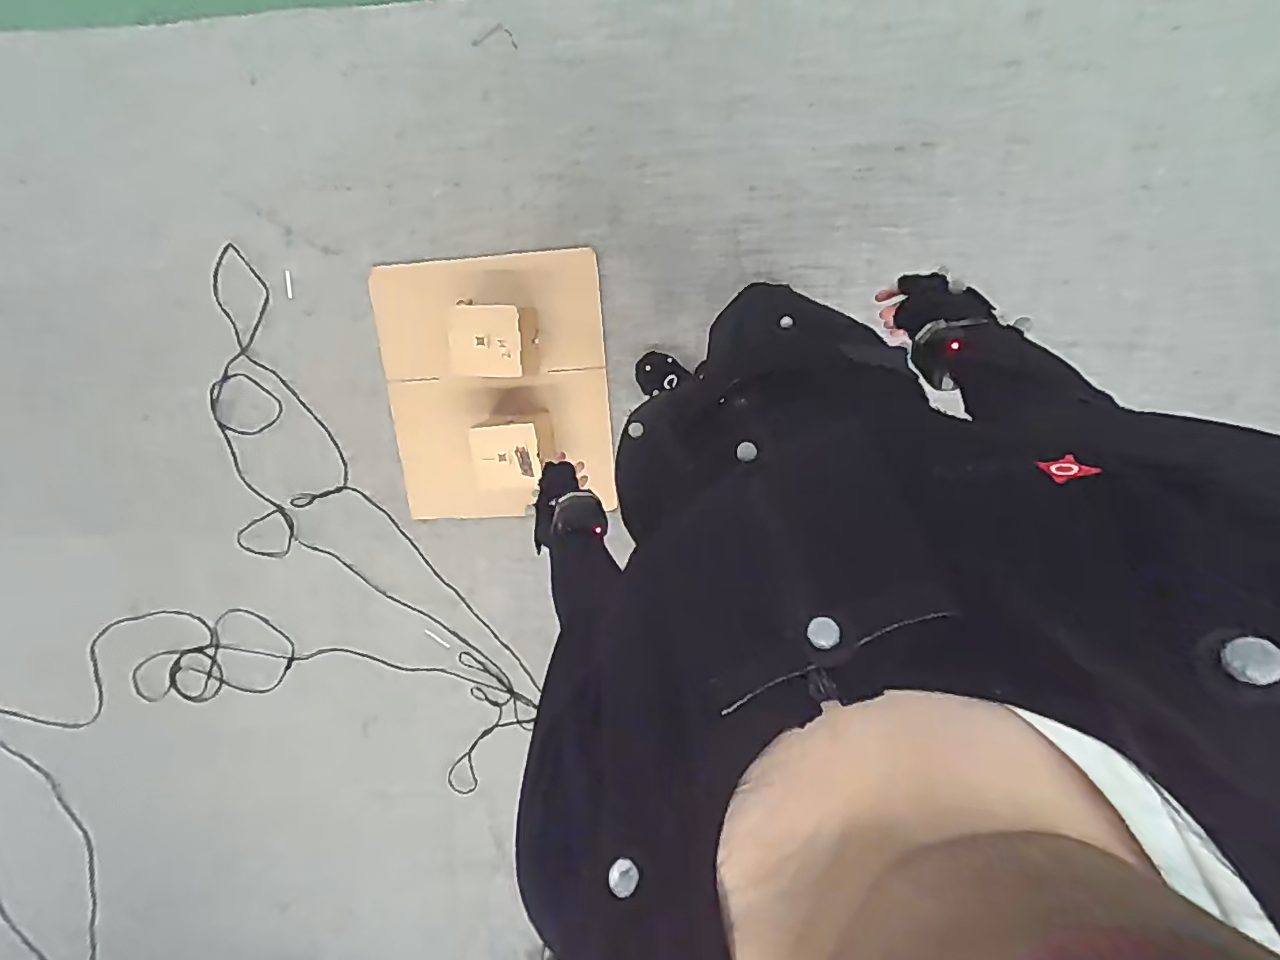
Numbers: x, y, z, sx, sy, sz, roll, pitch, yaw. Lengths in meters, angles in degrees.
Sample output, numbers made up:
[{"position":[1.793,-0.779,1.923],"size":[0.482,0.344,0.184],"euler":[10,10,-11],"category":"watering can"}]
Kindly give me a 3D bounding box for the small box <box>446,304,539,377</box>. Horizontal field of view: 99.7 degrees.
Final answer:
[{"position":[-0.358,-0.345,1.341],"size":[0.179,0.176,0.168],"euler":[1,106,4],"category":"small box"}]

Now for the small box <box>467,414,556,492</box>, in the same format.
[{"position":[-0.324,-0.075,1.408],"size":[0.179,0.176,0.168],"euler":[-4,105,6],"category":"small box"}]
